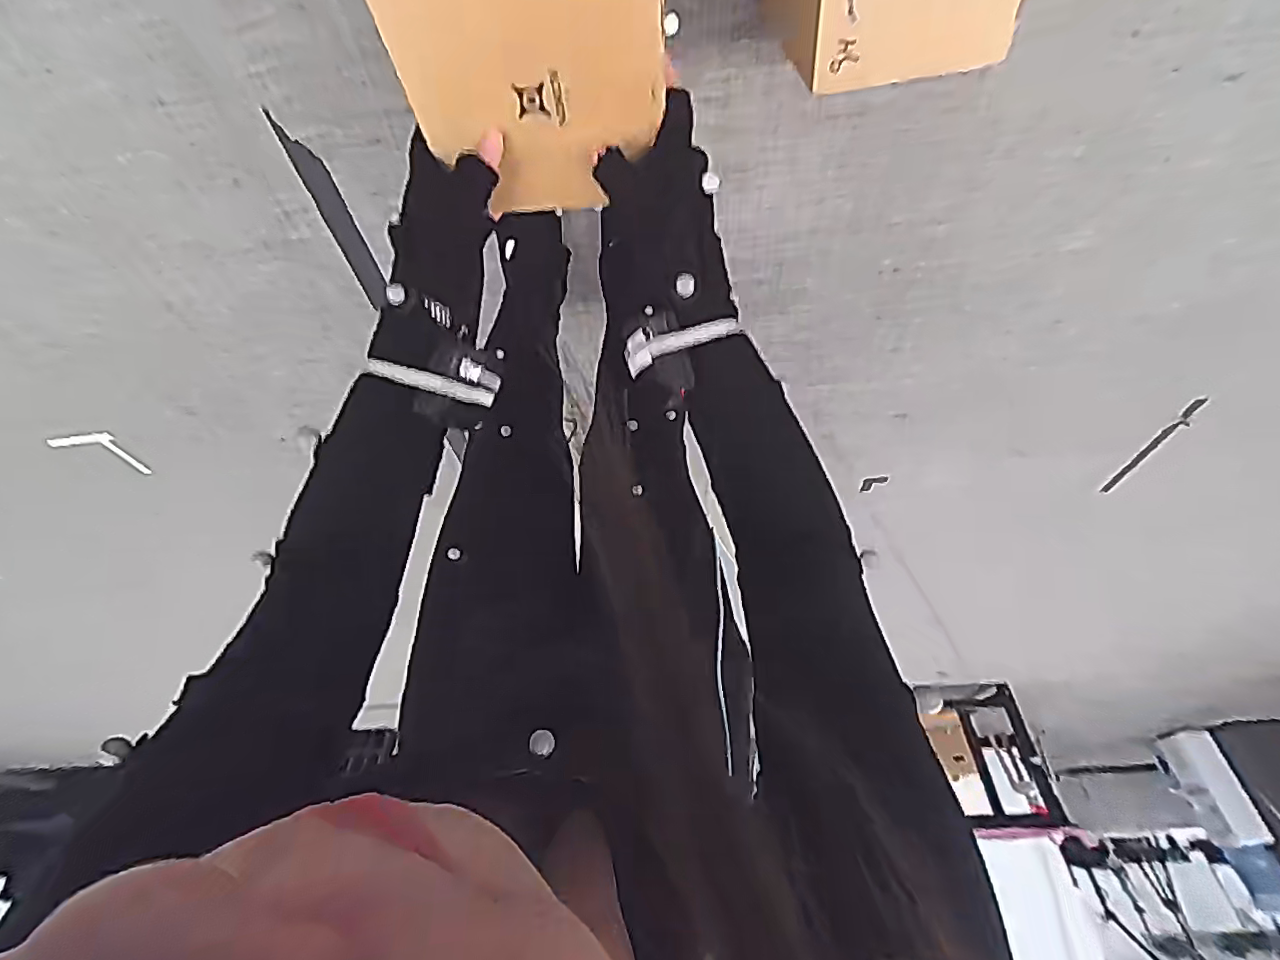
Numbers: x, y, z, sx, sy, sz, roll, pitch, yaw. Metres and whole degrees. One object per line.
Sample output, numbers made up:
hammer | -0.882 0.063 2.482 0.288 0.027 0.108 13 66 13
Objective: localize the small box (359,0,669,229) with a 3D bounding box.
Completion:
small box | -0.069 -0.314 0.396 0.179 0.176 0.168 -3 156 2
